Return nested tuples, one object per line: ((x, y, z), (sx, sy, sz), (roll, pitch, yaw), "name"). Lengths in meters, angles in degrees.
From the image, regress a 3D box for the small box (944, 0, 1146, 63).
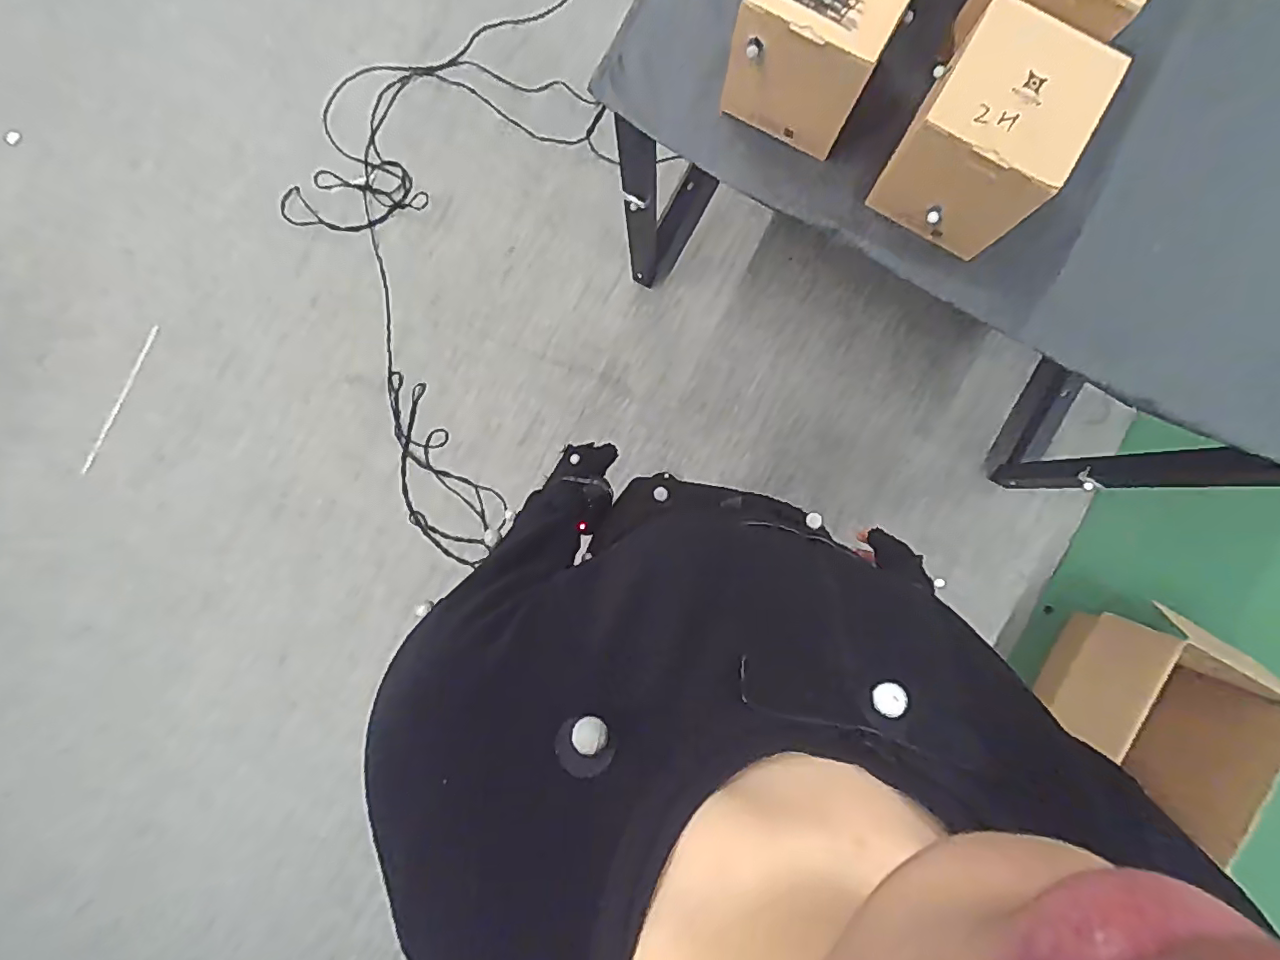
((0.525, -0.630, 0.677), (0.168, 0.176, 0.179), (31, 91, 1), "small box")

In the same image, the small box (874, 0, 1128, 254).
((0.425, -0.423, 0.671), (0.168, 0.176, 0.179), (30, 88, 2), "small box")
